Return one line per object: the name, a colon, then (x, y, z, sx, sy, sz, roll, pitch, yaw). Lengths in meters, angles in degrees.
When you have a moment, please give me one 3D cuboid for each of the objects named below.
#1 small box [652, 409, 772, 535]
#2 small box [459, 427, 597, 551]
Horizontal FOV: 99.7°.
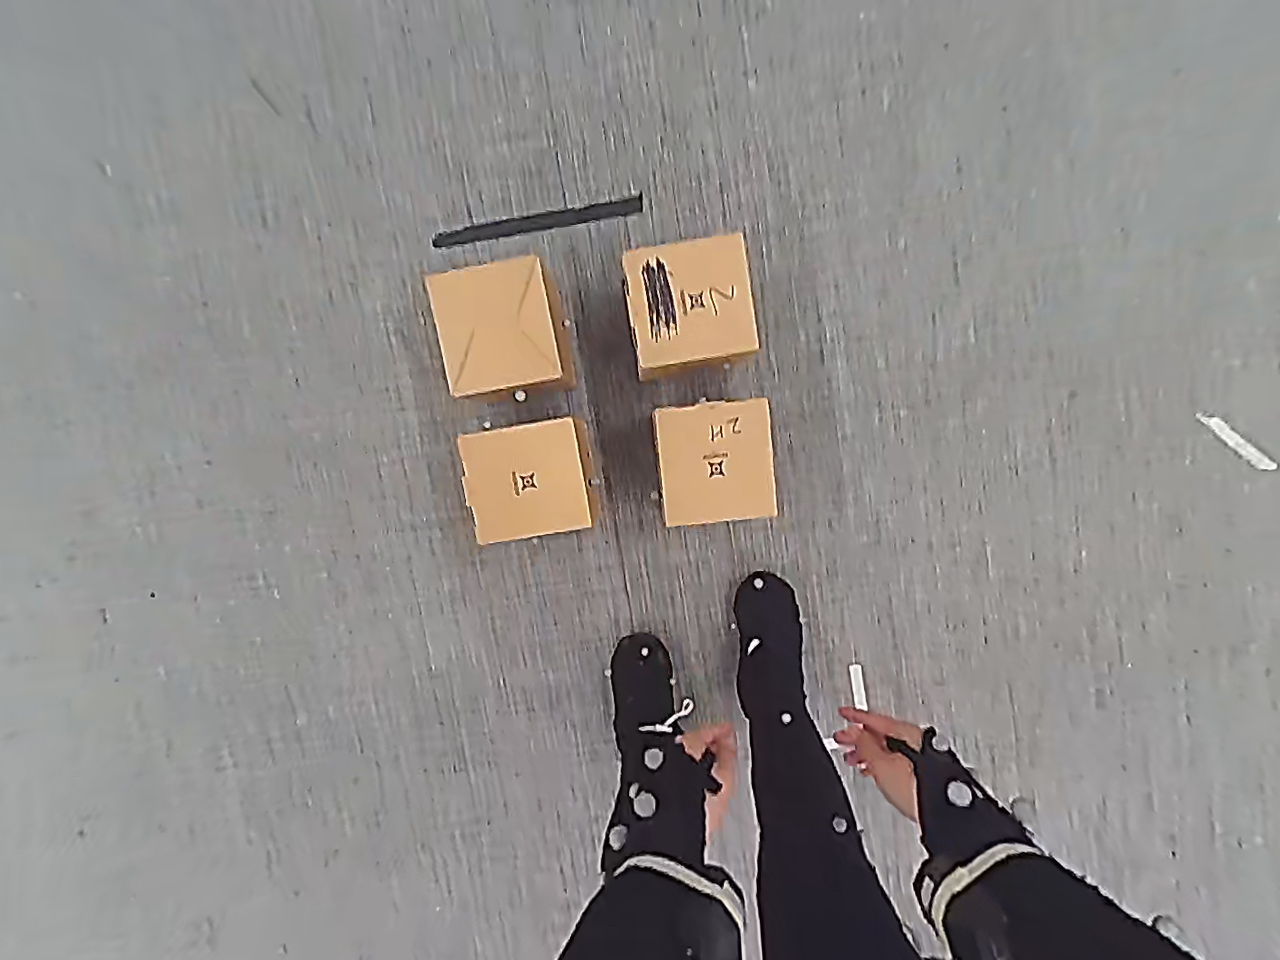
small box: (0.108, -0.019, 0.868, 0.168, 0.176, 0.179, -5, 94, 0)
small box: (-0.168, 0.006, 0.874, 0.179, 0.176, 0.168, -9, 94, 2)
